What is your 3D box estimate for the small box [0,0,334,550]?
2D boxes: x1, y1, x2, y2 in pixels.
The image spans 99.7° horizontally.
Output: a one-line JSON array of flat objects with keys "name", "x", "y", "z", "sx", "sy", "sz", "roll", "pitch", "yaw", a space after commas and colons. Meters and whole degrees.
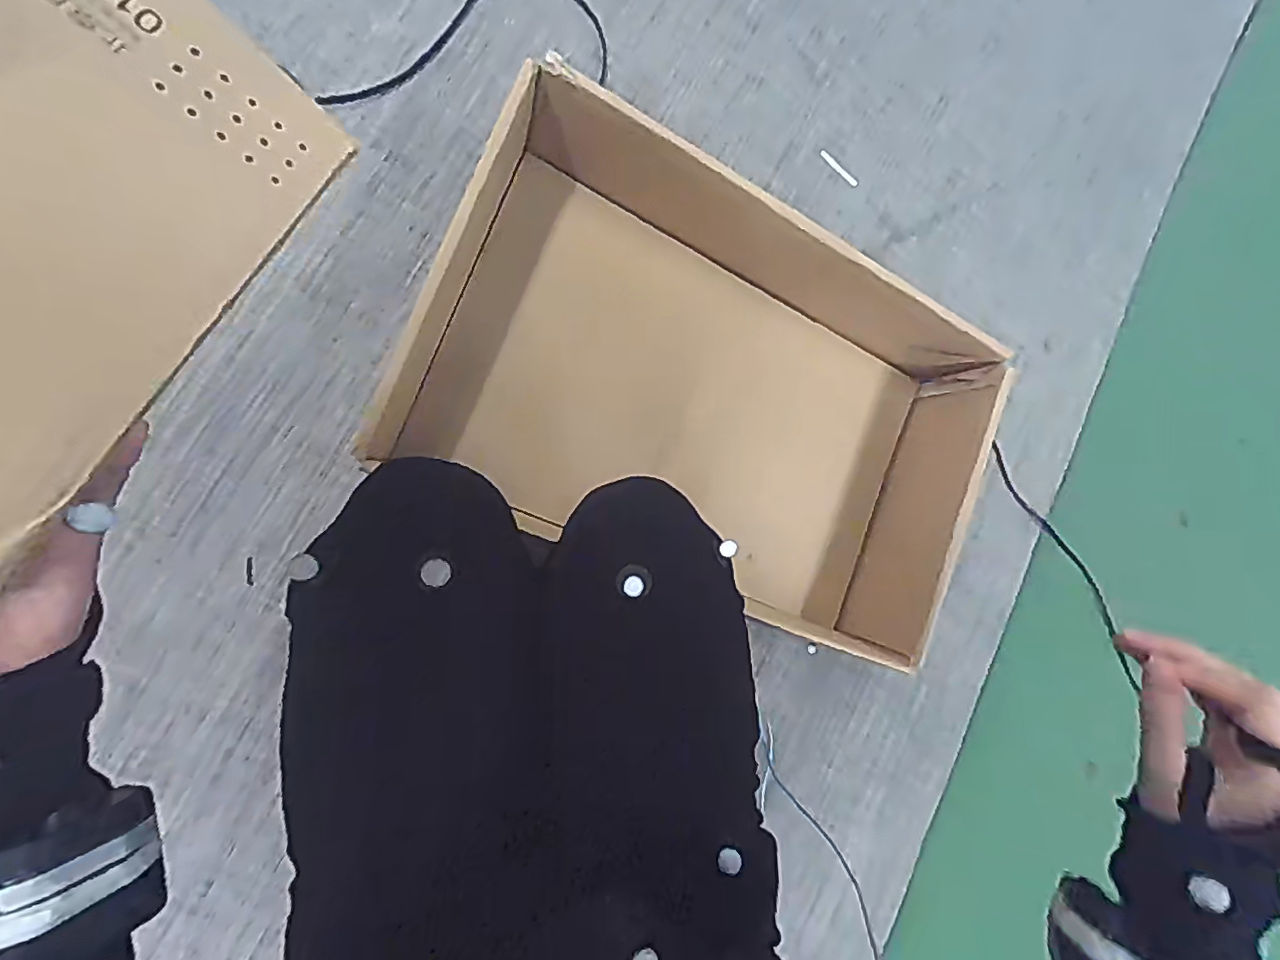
[{"name": "small box", "x": -0.214, "y": -0.078, "z": 0.131, "sx": 0.168, "sy": 0.179, "sz": 0.176, "roll": 40, "pitch": 63, "yaw": -40}]
